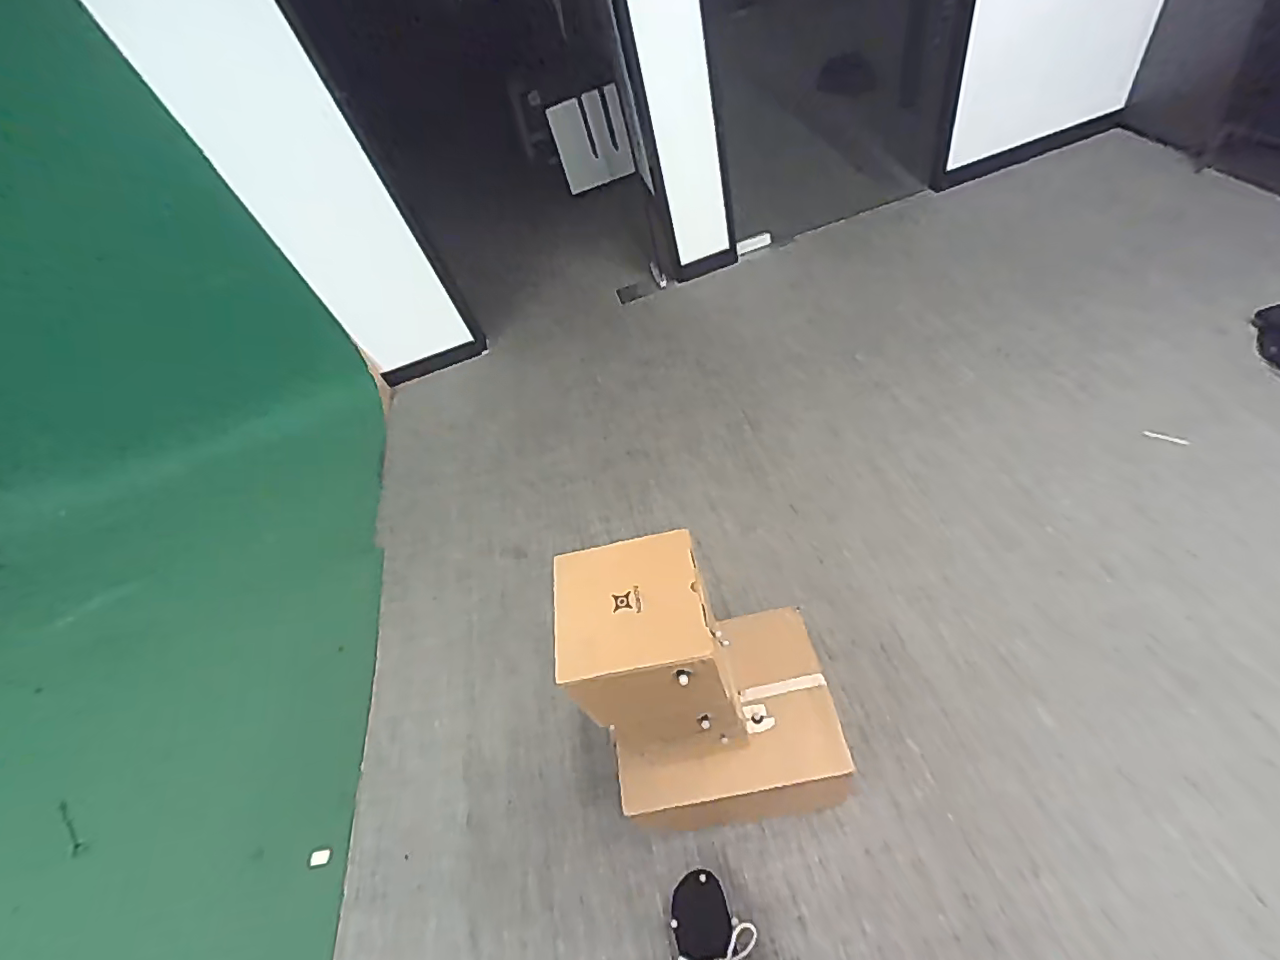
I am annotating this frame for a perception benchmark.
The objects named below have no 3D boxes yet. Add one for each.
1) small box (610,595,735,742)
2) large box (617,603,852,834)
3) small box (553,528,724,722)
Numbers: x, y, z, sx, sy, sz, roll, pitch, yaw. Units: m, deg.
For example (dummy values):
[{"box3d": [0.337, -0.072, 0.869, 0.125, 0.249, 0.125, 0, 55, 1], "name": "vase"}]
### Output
[{"box3d": [0.041, 0.277, 0.814, 0.168, 0.176, 0.179, -14, 49, 4], "name": "small box"}, {"box3d": [0.177, 0.504, 1.126, 0.408, 0.320, 0.320, -14, 50, 5], "name": "large box"}, {"box3d": [0.000, 0.188, 0.683, 0.179, 0.176, 0.168, -12, 49, 5], "name": "small box"}]
